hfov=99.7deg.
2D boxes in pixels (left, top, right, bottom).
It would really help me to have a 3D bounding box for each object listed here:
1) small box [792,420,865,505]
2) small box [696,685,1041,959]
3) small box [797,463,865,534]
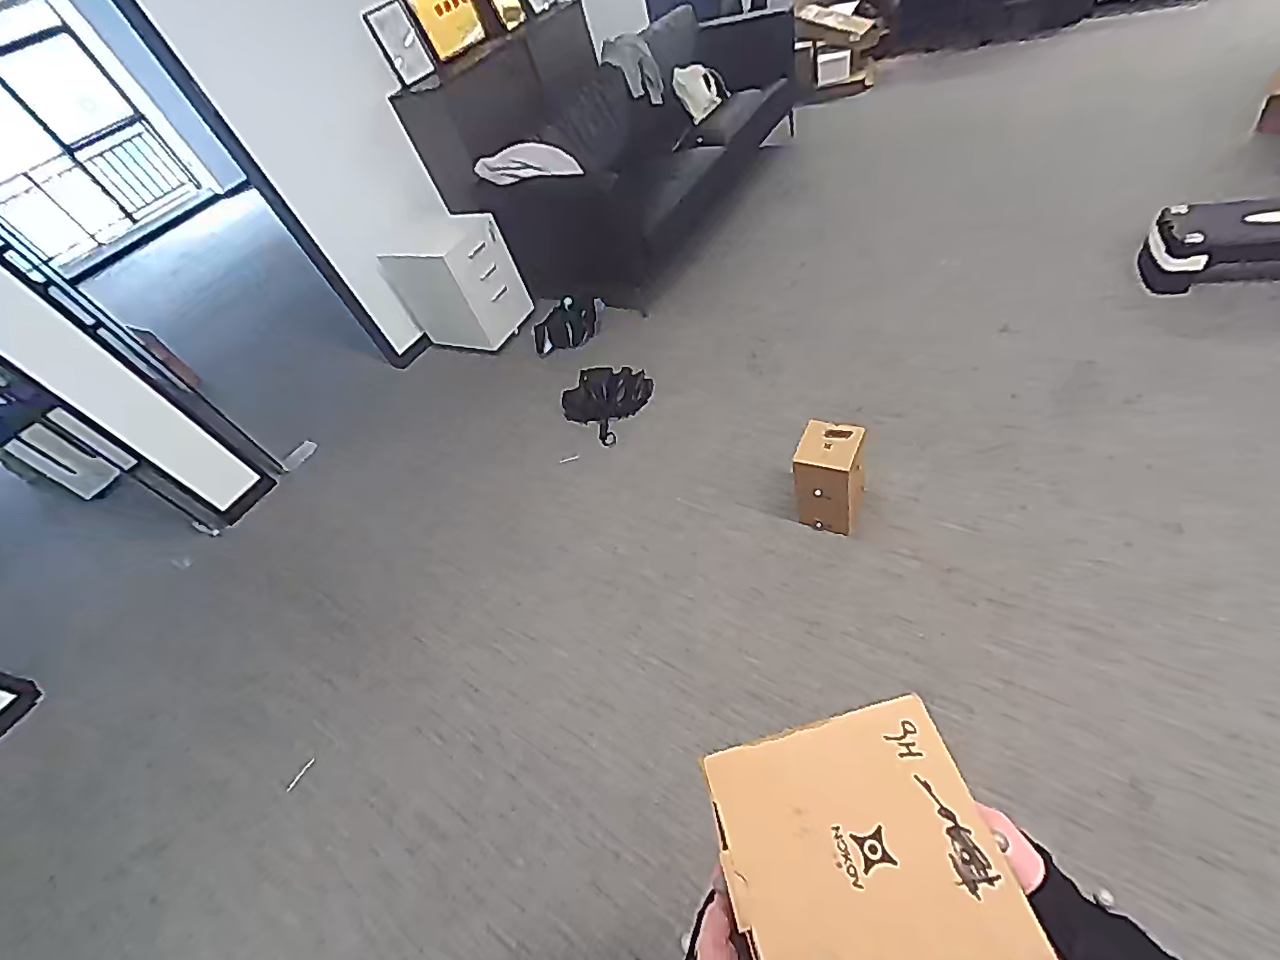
[{"bbox_3d":[0.574,-0.053,1.642,0.168,0.176,0.179,13,57,31],"label":"small box"},{"bbox_3d":[0.157,0.289,0.437,0.179,0.176,0.168,-17,55,0],"label":"small box"},{"bbox_3d":[0.625,0.047,1.763,0.168,0.176,0.179,13,58,31],"label":"small box"}]
